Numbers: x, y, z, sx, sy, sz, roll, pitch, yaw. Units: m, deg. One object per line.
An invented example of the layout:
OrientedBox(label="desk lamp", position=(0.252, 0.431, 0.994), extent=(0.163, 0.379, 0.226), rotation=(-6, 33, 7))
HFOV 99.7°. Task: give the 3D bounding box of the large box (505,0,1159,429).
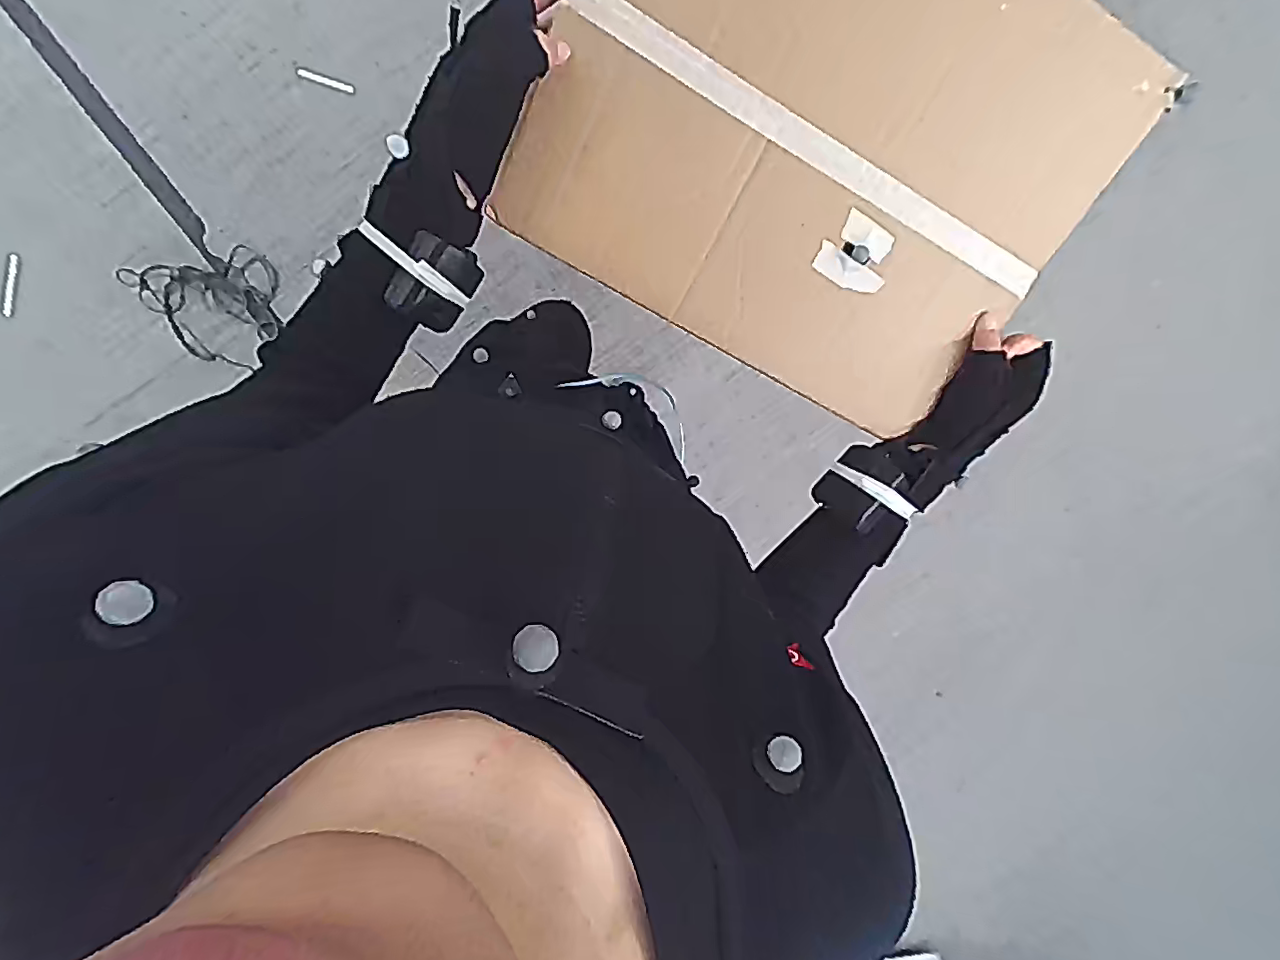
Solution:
OrientedBox(label="large box", position=(0.133, -0.310, 0.546), extent=(0.408, 0.320, 0.320), rotation=(26, 112, -11))
